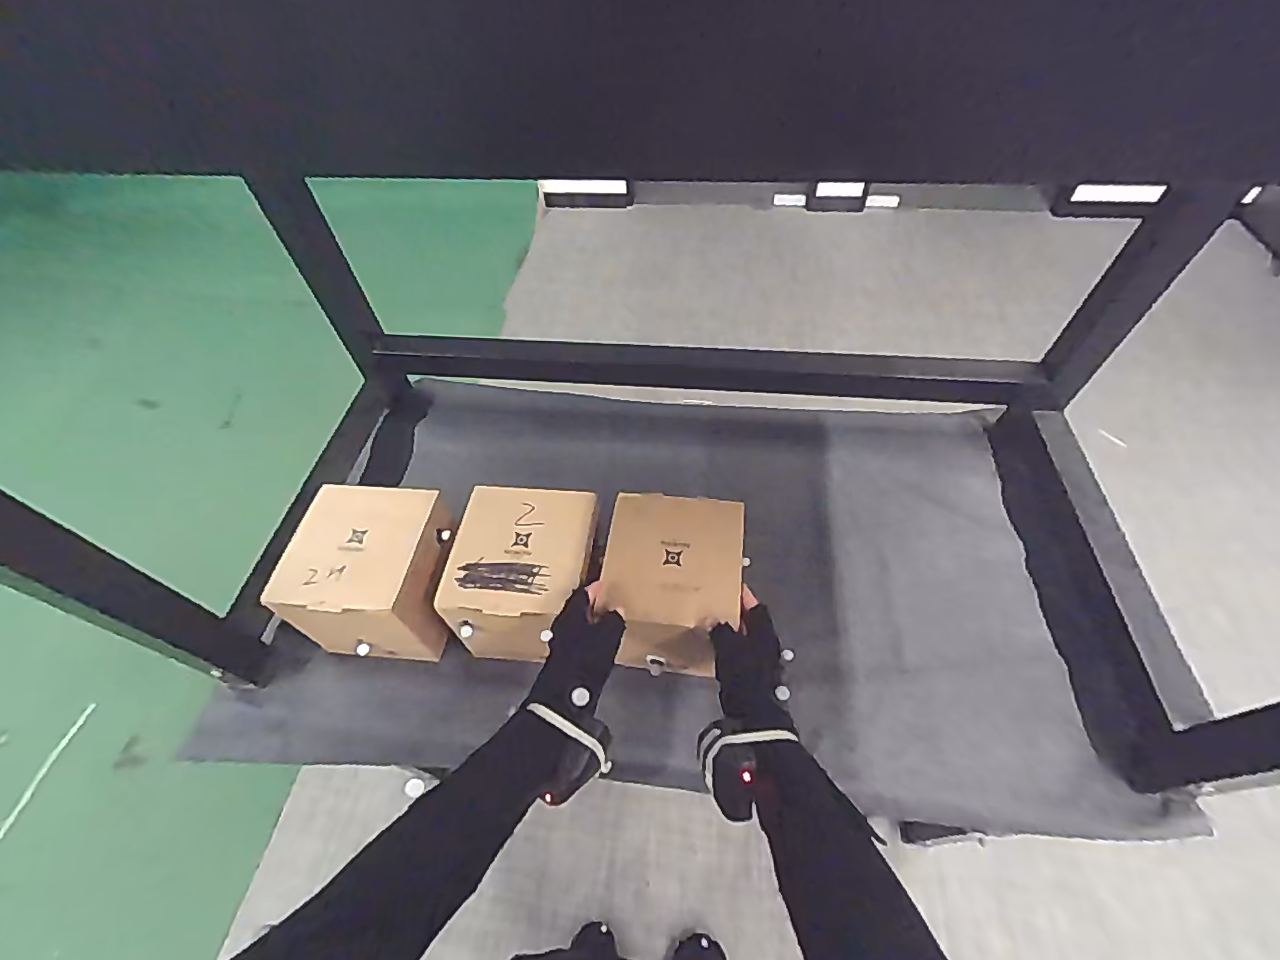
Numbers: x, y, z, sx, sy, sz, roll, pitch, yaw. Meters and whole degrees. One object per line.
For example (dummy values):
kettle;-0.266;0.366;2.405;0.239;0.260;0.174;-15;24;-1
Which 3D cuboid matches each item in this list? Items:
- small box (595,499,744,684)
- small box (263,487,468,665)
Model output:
small box;0.044;0.147;0.710;0.168;0.176;0.179;3;53;7
small box;-0.350;0.131;0.736;0.168;0.176;0.179;3;53;5
